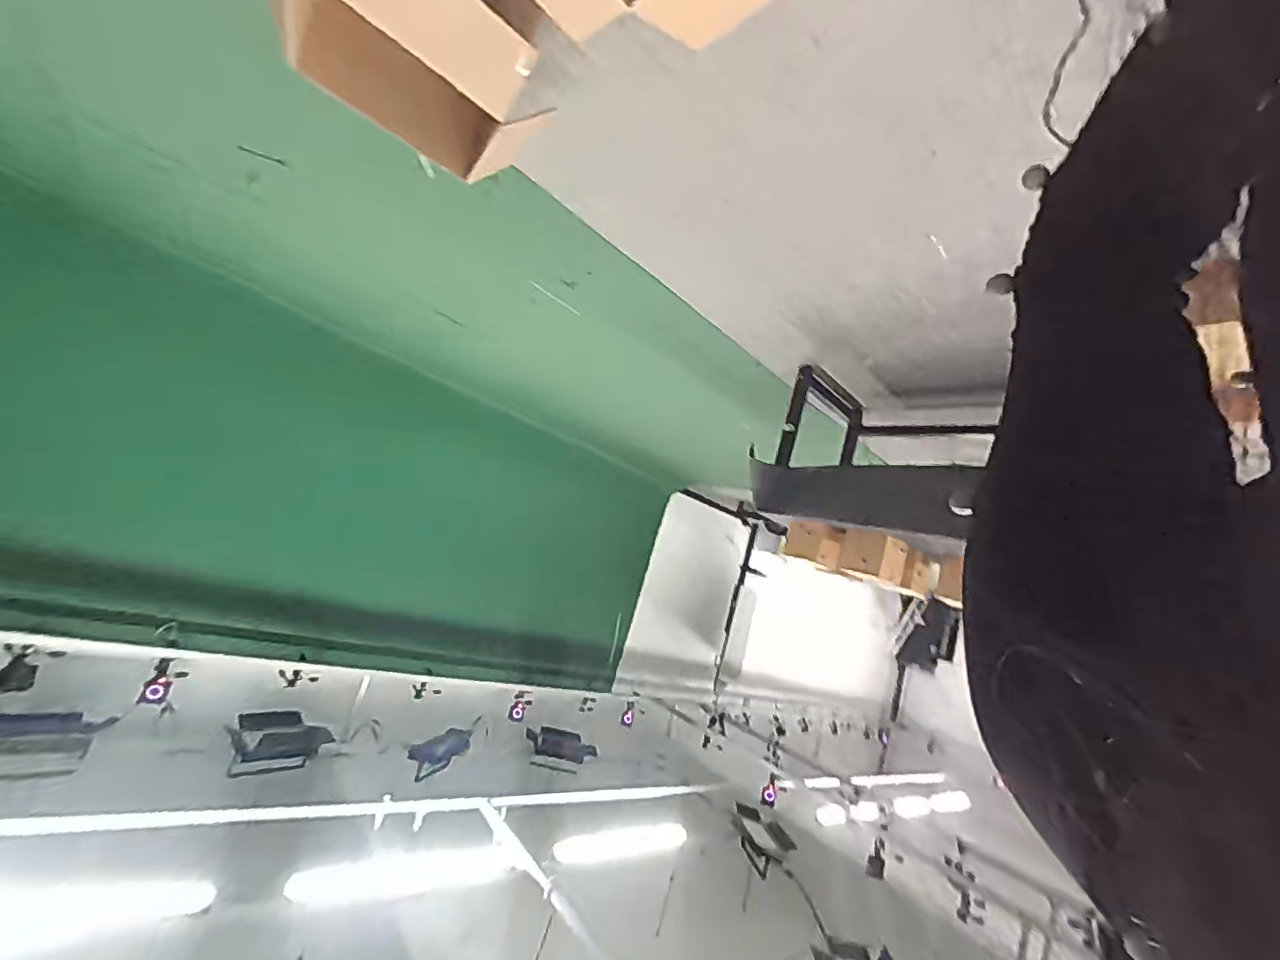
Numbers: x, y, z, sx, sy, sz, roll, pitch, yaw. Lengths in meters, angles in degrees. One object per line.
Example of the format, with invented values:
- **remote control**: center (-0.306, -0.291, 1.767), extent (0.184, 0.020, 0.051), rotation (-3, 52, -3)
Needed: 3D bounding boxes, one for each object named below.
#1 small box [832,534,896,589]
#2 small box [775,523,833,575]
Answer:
- **small box**: center (0.896, 0.320, 2.148), extent (0.168, 0.176, 0.179), rotation (24, 168, -36)
- **small box**: center (0.713, 0.295, 2.334), extent (0.168, 0.176, 0.179), rotation (6, 165, 46)
